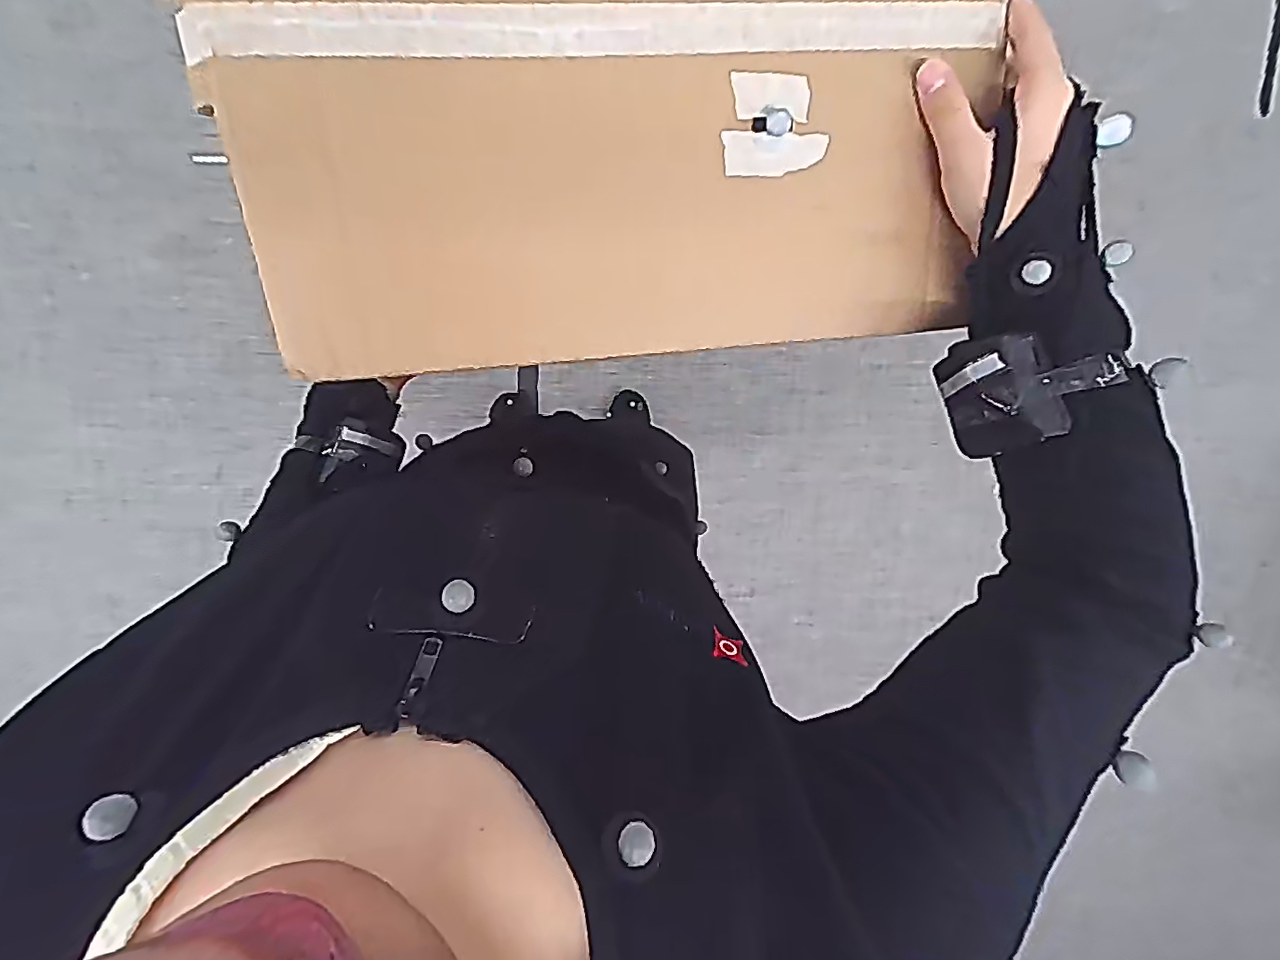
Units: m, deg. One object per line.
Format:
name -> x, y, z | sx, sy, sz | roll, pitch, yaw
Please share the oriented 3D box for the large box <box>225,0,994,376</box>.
large box -> -0.023, -0.268, 0.420 | 0.408, 0.320, 0.320 | -7, 108, -9
